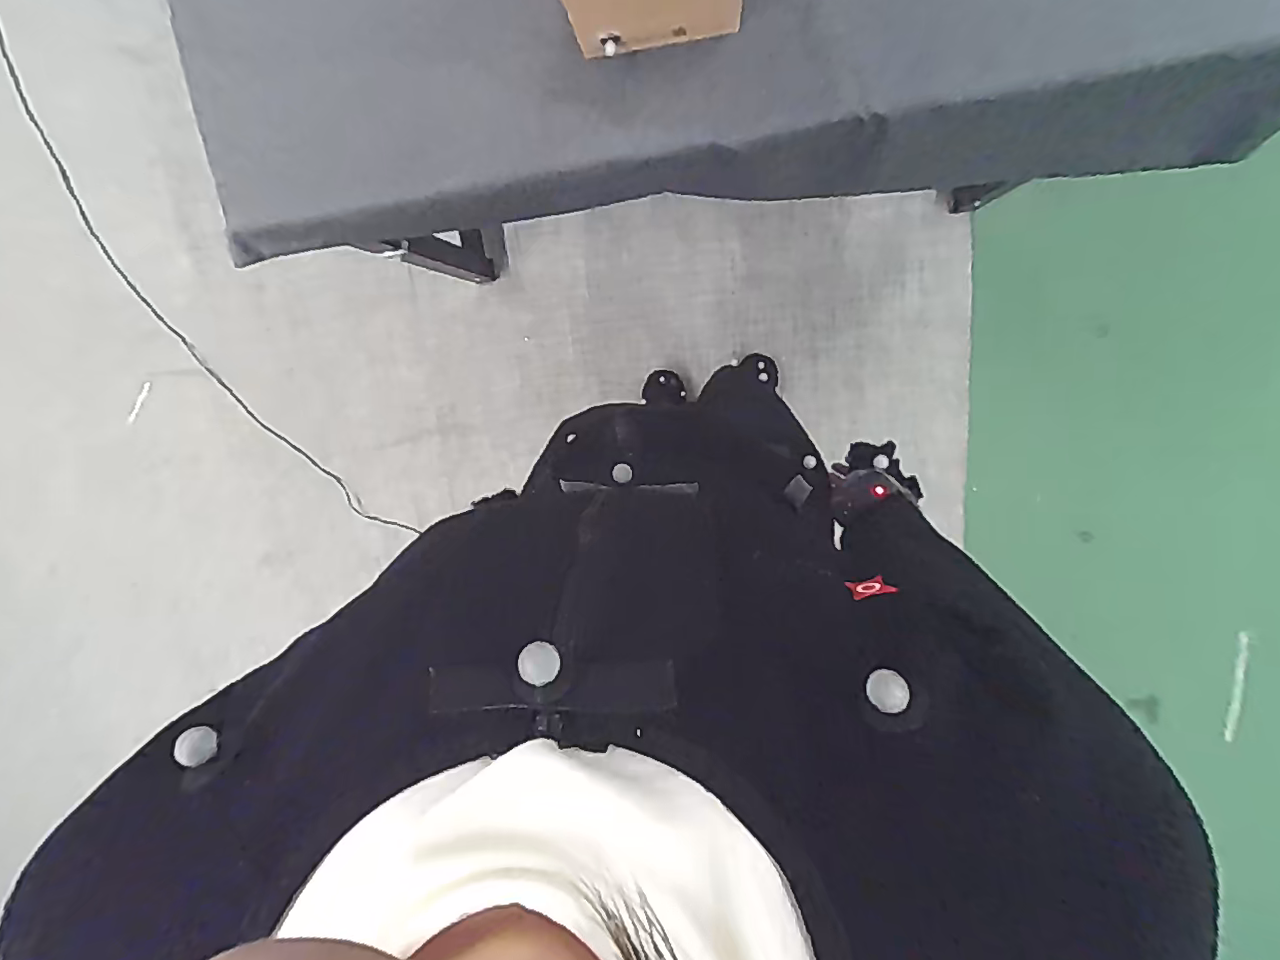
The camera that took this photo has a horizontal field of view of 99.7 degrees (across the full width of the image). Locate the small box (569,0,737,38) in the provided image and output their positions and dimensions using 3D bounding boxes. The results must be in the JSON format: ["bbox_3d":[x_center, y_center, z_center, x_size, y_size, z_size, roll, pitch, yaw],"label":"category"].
[{"bbox_3d":[0.005,-0.534,0.479,0.168,0.176,0.179,-4,102,7],"label":"small box"}]
